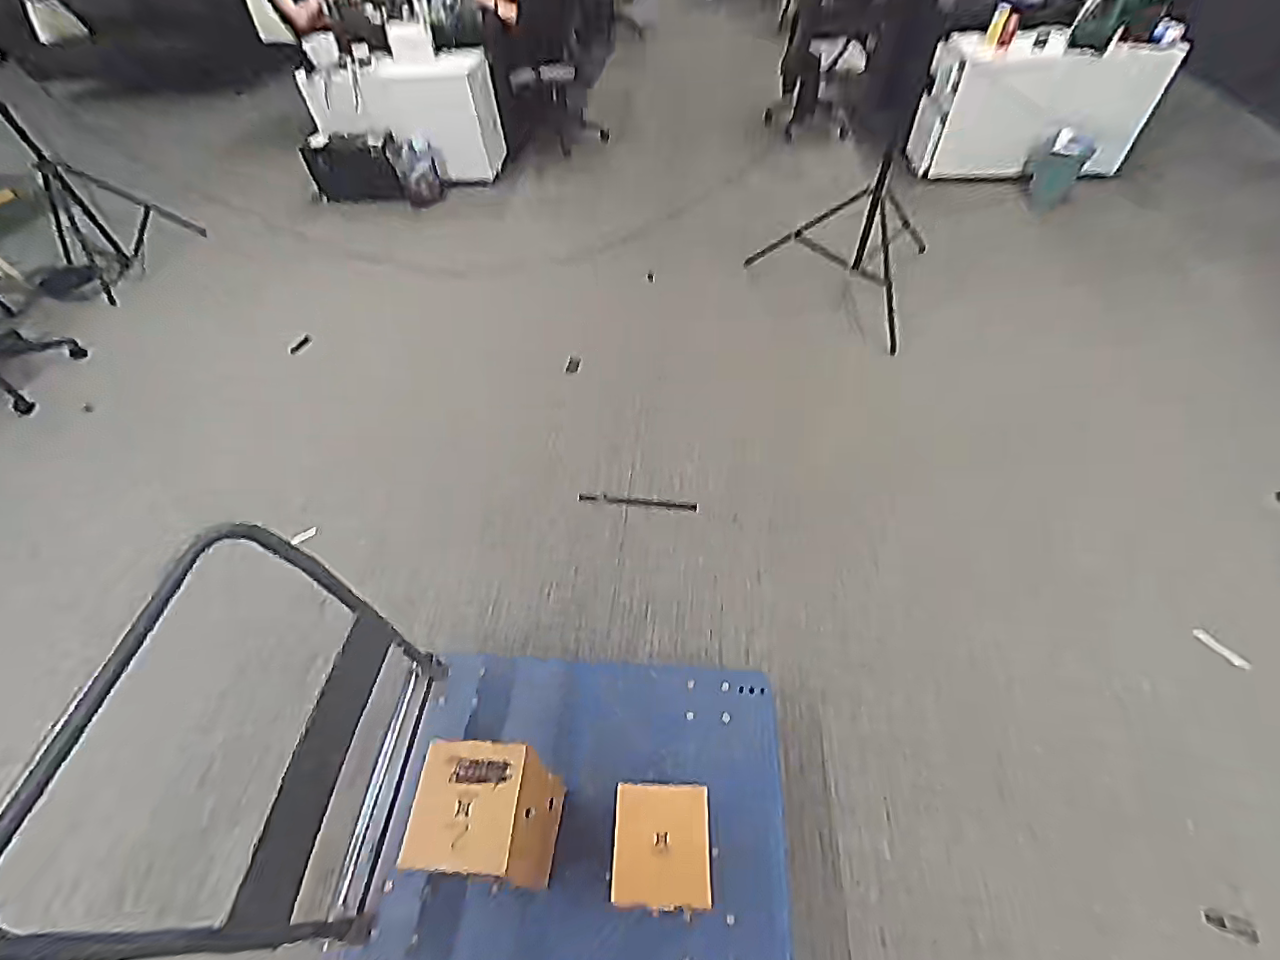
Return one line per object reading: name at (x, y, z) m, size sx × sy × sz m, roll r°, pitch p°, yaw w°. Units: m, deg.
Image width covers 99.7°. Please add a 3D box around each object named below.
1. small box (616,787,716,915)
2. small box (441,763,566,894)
small box at (0.048, 0.679, 0.987) m, size 0.168 × 0.176 × 0.179 m, roll -1°, pitch 51°, yaw 3°
small box at (-0.244, 0.658, 1.020) m, size 0.168 × 0.176 × 0.179 m, roll 4°, pitch 51°, yaw 8°
